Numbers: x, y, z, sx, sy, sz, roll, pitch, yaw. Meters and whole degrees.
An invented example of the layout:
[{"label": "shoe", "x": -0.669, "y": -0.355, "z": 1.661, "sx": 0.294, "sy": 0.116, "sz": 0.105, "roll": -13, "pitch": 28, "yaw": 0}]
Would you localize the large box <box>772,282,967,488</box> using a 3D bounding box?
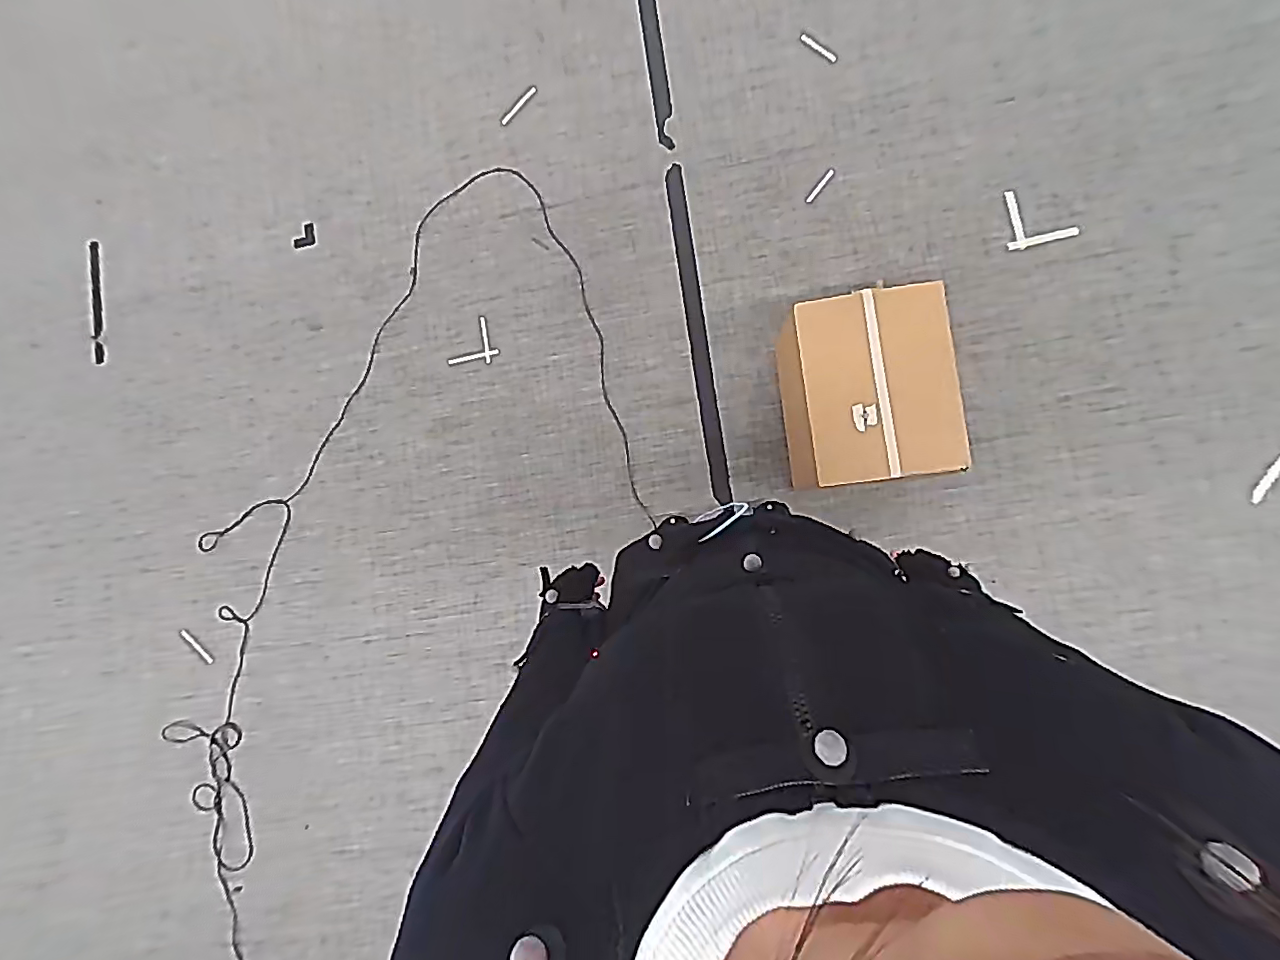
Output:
[{"label": "large box", "x": 0.519, "y": -0.201, "z": 1.298, "sx": 0.320, "sy": 0.320, "sz": 0.408, "roll": -8, "pitch": 87, "yaw": 6}]
